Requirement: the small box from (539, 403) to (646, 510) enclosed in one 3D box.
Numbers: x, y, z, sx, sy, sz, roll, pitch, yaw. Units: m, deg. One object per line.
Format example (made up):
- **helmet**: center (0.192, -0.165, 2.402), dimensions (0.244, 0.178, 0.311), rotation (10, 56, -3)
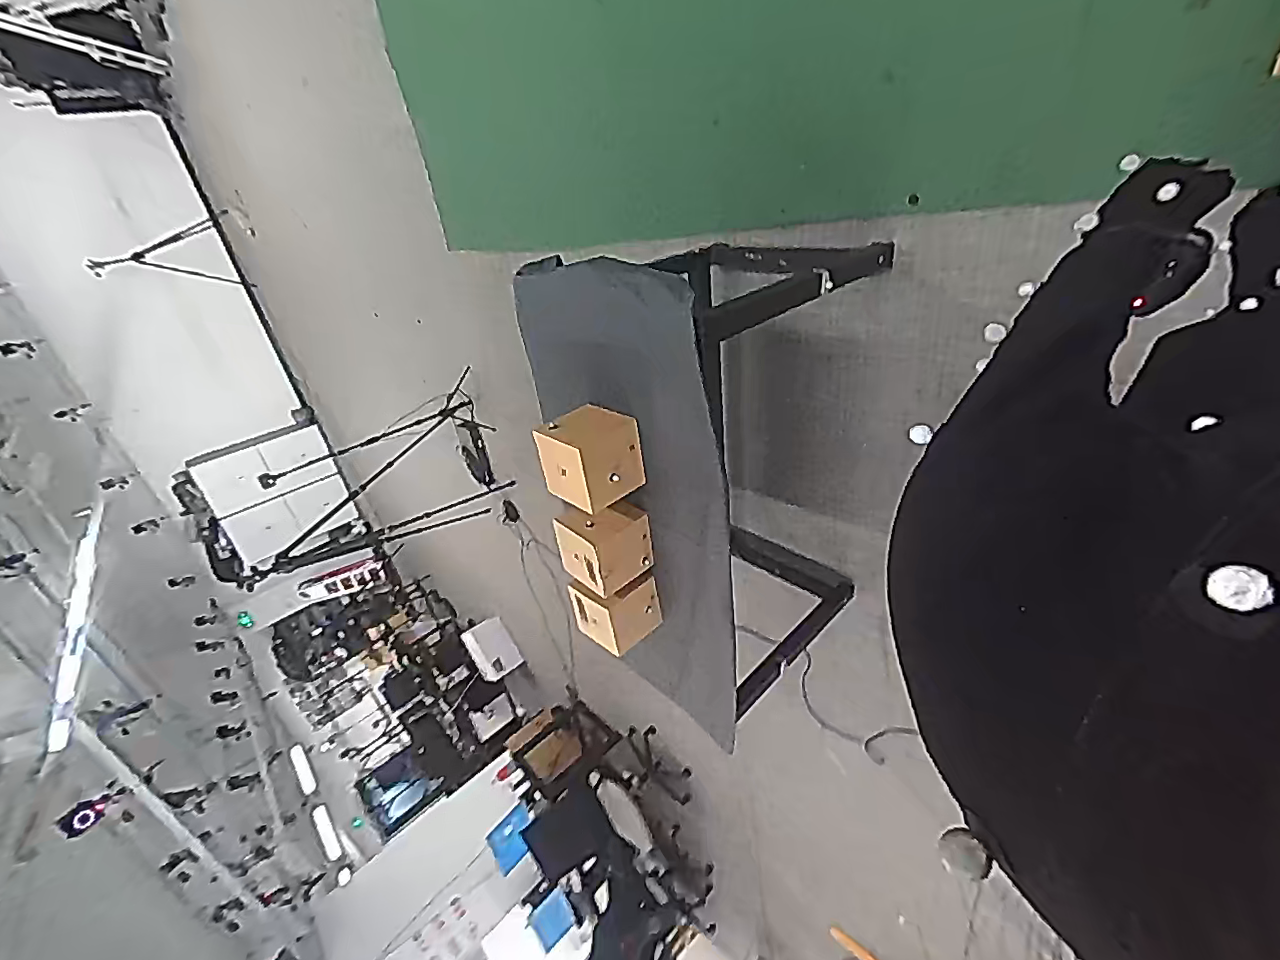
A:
- **small box**: center (-0.099, -0.062, 1.235), dimensions (0.179, 0.176, 0.168), rotation (23, 133, 44)
